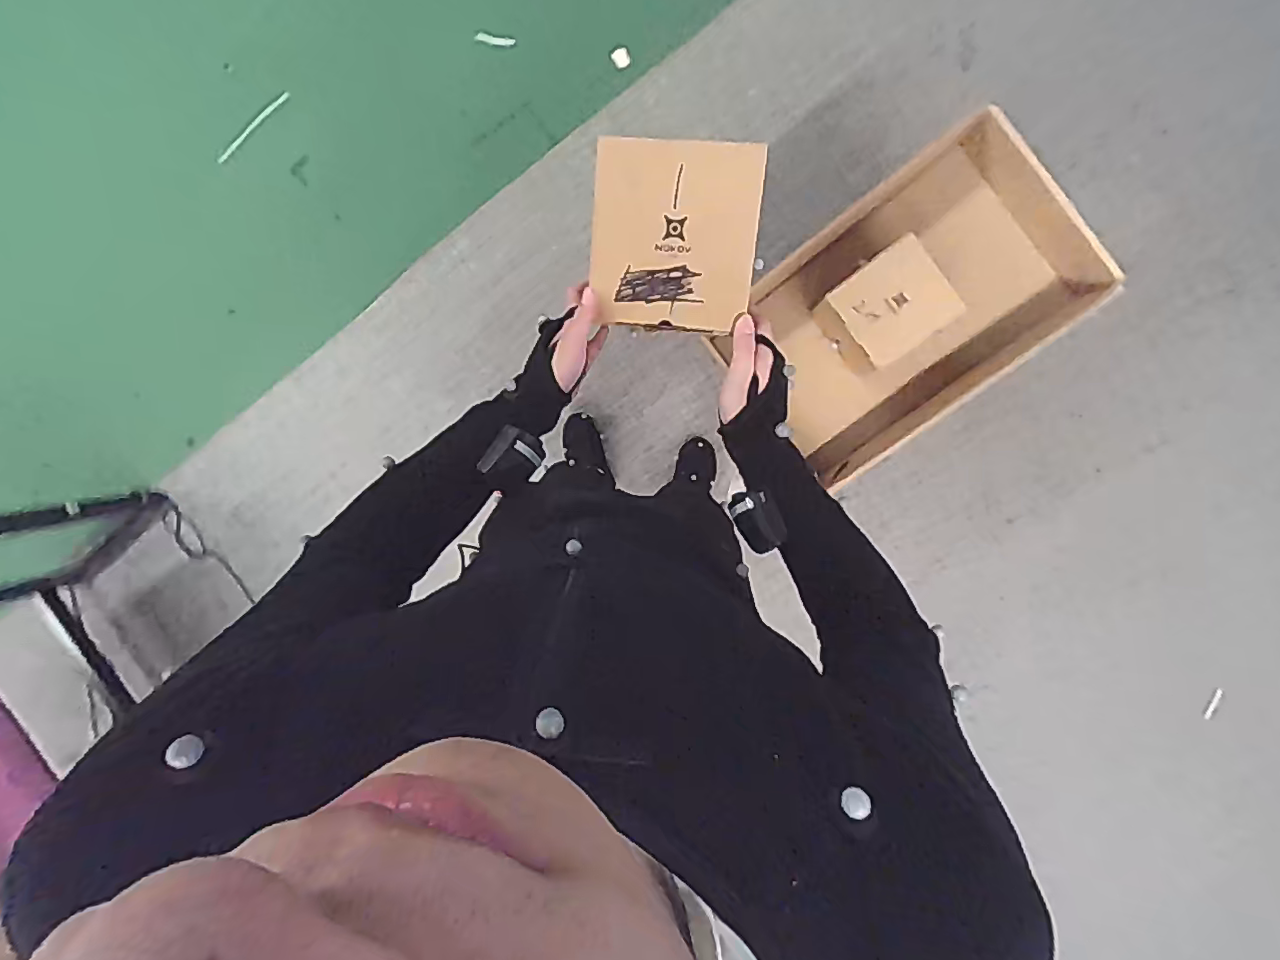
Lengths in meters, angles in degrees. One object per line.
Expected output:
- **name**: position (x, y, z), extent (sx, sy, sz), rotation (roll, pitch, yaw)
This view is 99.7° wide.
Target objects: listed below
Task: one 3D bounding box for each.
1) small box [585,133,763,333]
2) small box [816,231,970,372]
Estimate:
- **small box**: position (0.038, -0.260, 0.607), extent (0.168, 0.176, 0.179), rotation (5, 104, 5)
- **small box**: position (0.457, -0.320, 1.009), extent (0.179, 0.176, 0.168), rotation (-36, 91, 11)
